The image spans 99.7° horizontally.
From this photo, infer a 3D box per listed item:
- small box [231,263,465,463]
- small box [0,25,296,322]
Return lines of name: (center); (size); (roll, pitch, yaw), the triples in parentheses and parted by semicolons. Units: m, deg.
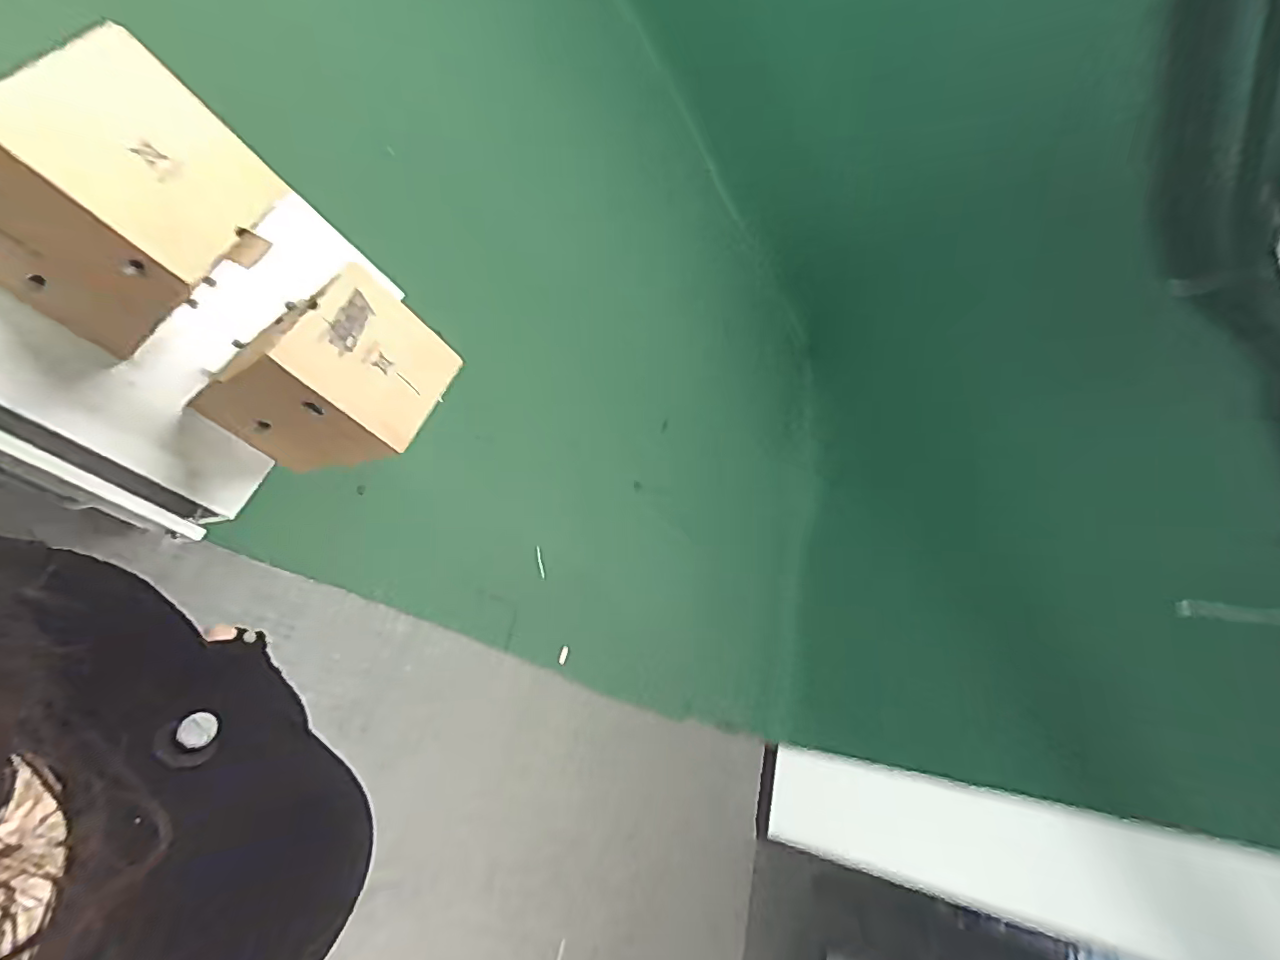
small box: (-0.372, -0.136, 0.695); (0.179, 0.176, 0.168); (48, 51, -37)
small box: (-0.509, -0.290, 0.547); (0.179, 0.176, 0.168); (47, 51, -40)
